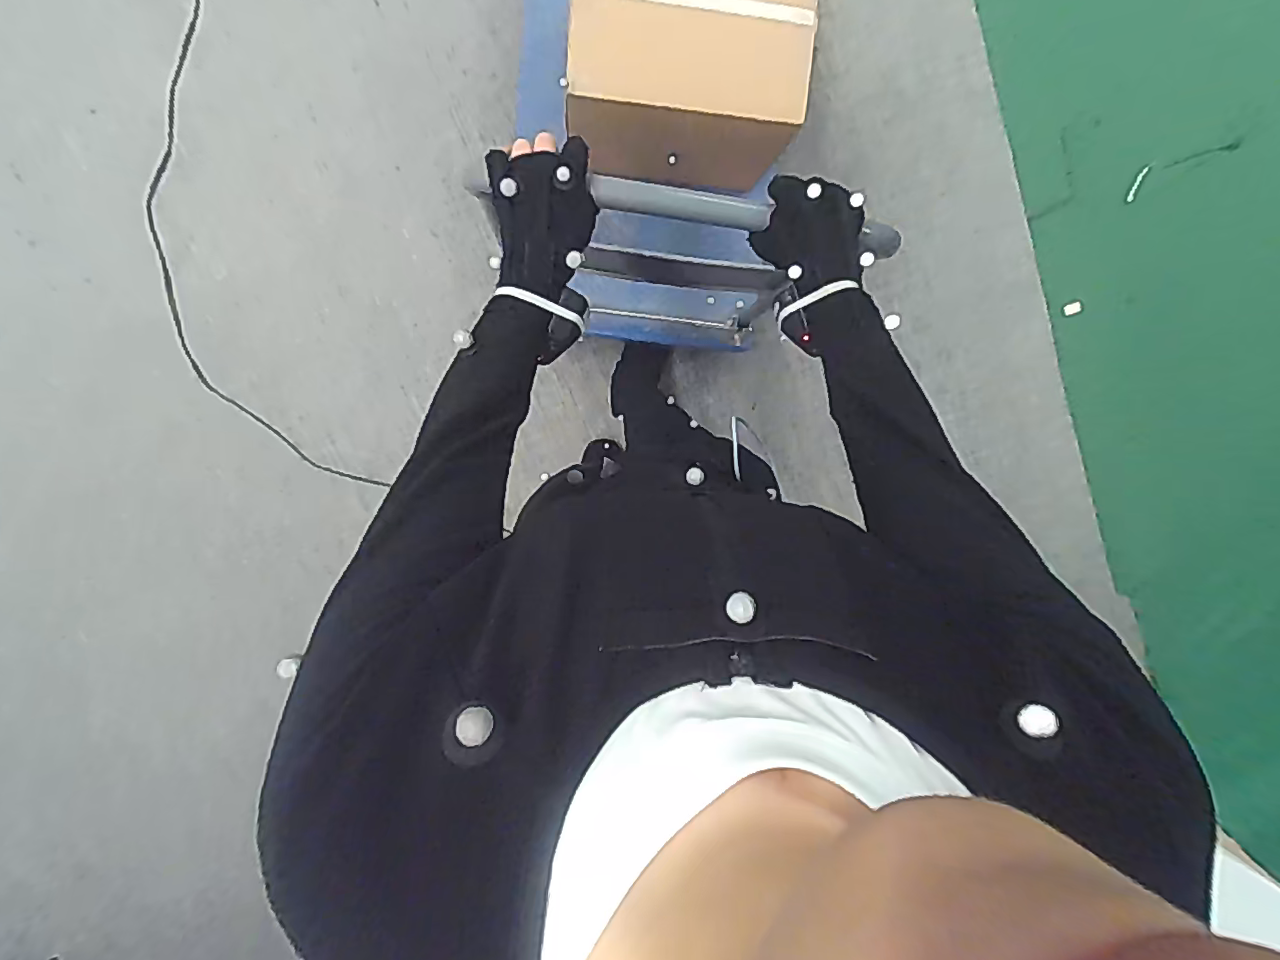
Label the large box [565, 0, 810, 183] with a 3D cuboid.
[{"bbox_3d":[0.071,-0.792,1.024,0.408,0.320,0.320,3,98,-6],"label":"large box"}]
